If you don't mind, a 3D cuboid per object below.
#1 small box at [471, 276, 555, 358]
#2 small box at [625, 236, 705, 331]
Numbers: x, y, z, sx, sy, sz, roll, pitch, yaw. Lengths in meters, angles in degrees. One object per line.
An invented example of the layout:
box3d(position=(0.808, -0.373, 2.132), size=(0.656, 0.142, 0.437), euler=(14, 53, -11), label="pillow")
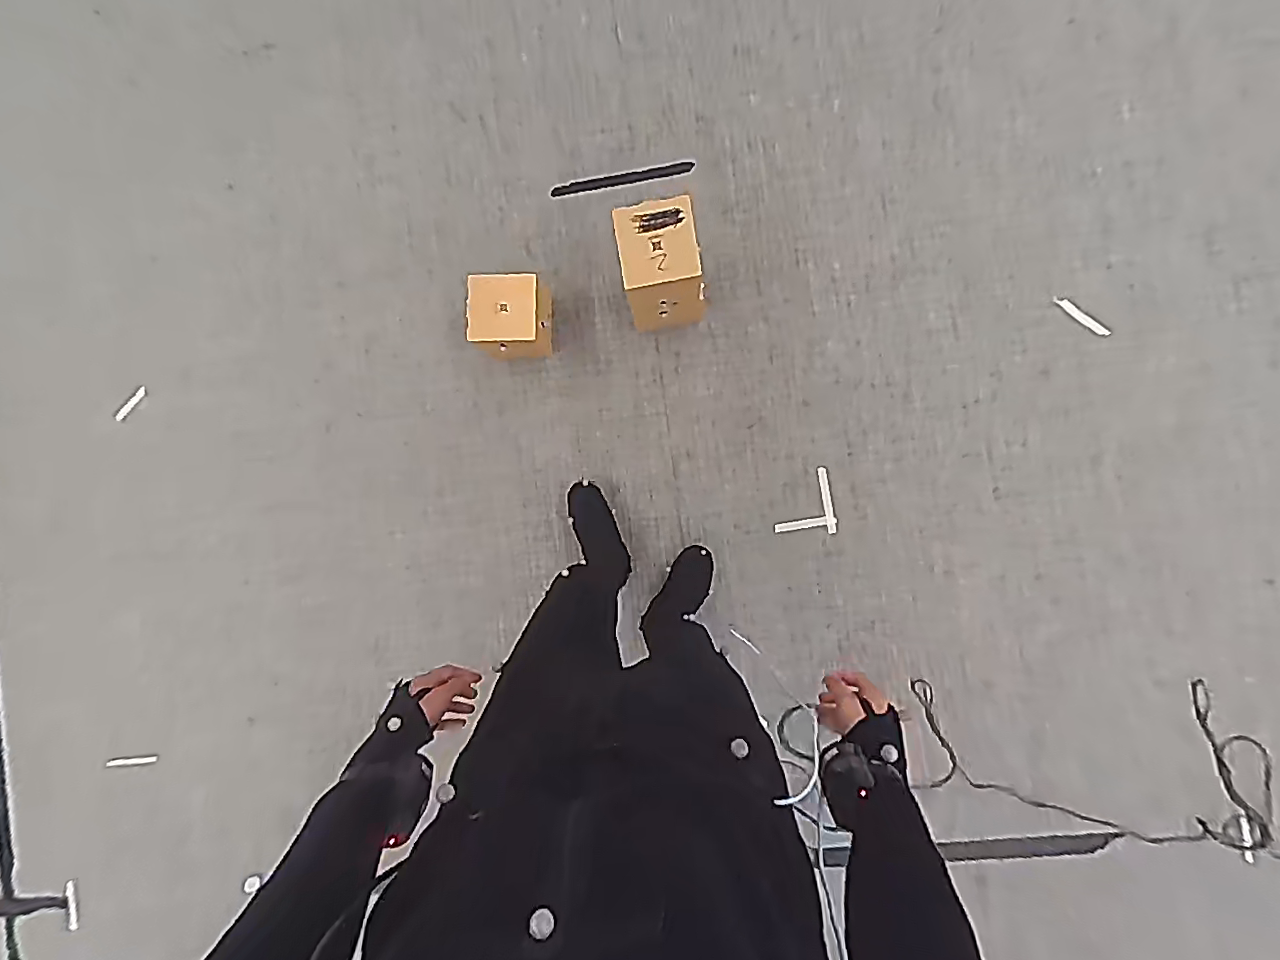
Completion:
box3d(position=(-0.322, -0.419, 1.403), size=(0.179, 0.176, 0.168), euler=(1, 90, 6), label="small box")
box3d(position=(0.066, -0.490, 1.372), size=(0.179, 0.176, 0.168), euler=(-8, 89, 3), label="small box")
